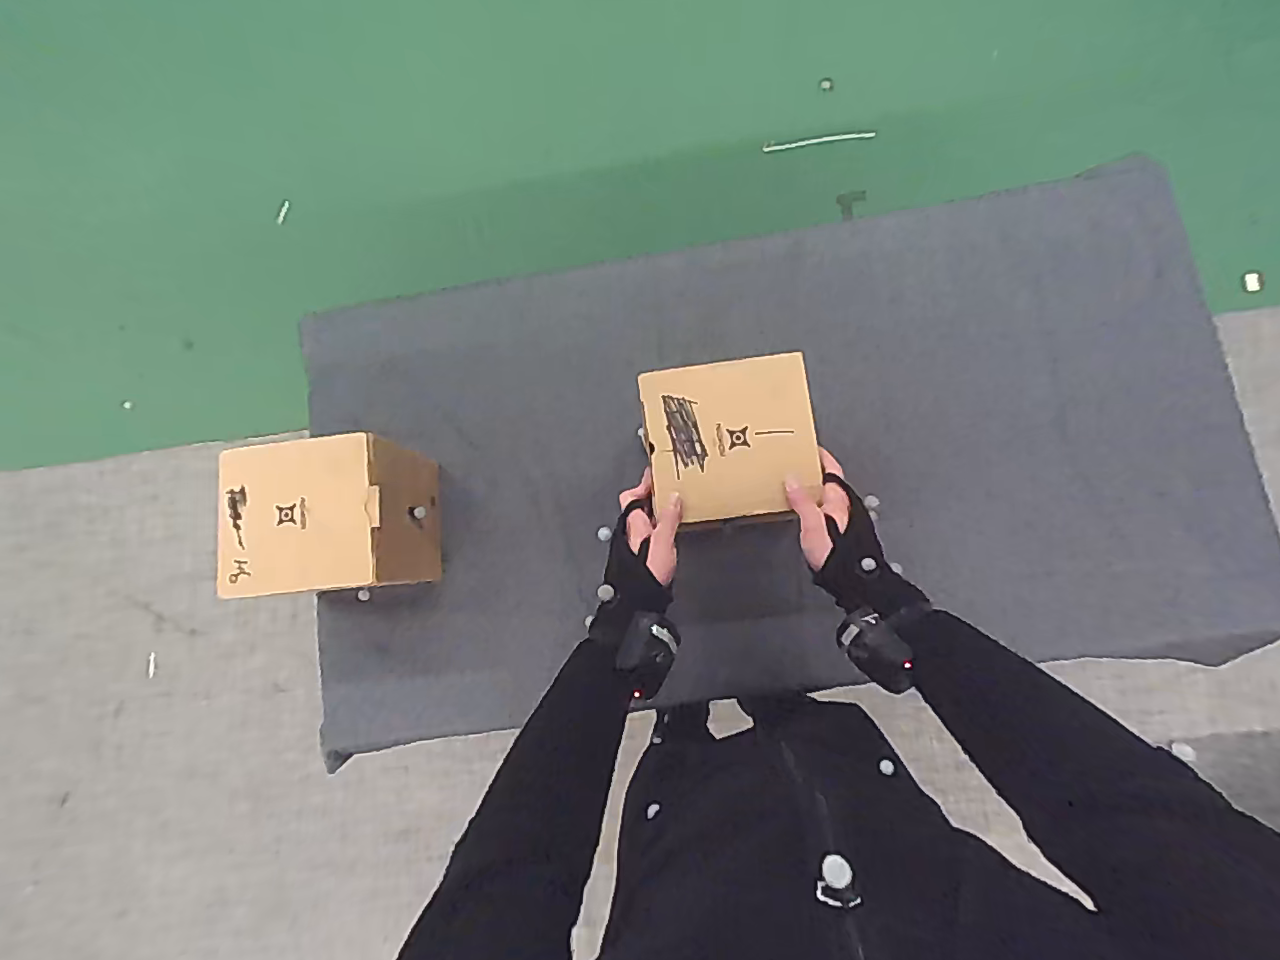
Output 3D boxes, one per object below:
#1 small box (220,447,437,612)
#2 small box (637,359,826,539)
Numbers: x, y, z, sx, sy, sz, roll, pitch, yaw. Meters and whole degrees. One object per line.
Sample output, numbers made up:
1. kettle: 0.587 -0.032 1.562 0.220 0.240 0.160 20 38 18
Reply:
1. small box: -0.361 0.063 0.658 0.179 0.176 0.168 -6 81 3
2. small box: 0.098 -0.024 0.631 0.179 0.176 0.168 -7 81 3
